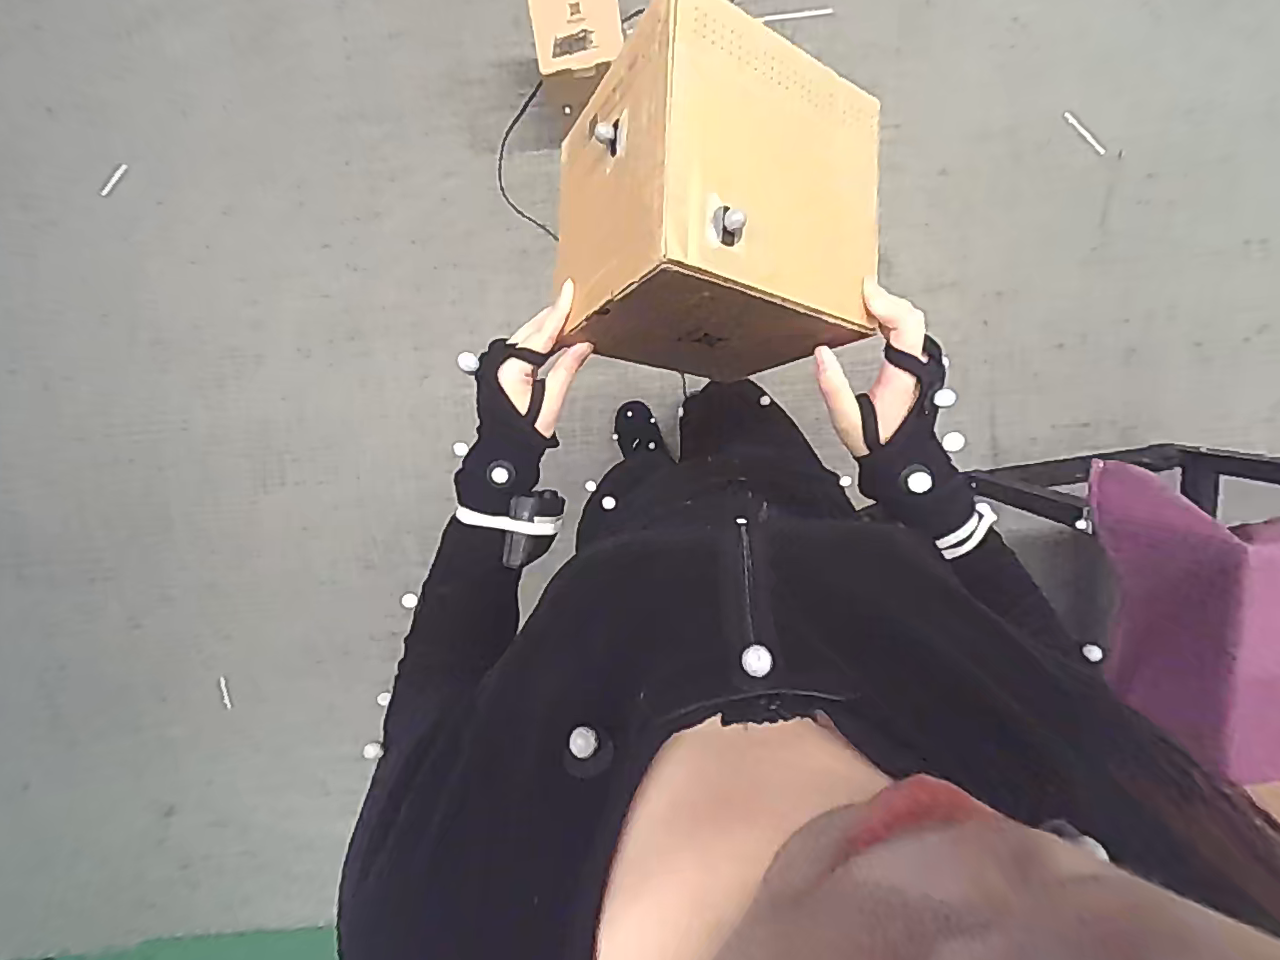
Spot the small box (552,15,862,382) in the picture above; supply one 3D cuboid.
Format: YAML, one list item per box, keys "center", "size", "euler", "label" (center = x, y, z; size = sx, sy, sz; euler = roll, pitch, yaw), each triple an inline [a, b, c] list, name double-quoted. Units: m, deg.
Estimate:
- center: [0.048, -0.187, 0.412]
  size: [0.179, 0.168, 0.176]
  euler: [8, 83, -28]
  label: "small box"

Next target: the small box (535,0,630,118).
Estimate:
- center: [-0.105, -0.865, 1.092]
  size: [0.168, 0.176, 0.179]
  euler: [-8, 100, 3]
  label: "small box"
